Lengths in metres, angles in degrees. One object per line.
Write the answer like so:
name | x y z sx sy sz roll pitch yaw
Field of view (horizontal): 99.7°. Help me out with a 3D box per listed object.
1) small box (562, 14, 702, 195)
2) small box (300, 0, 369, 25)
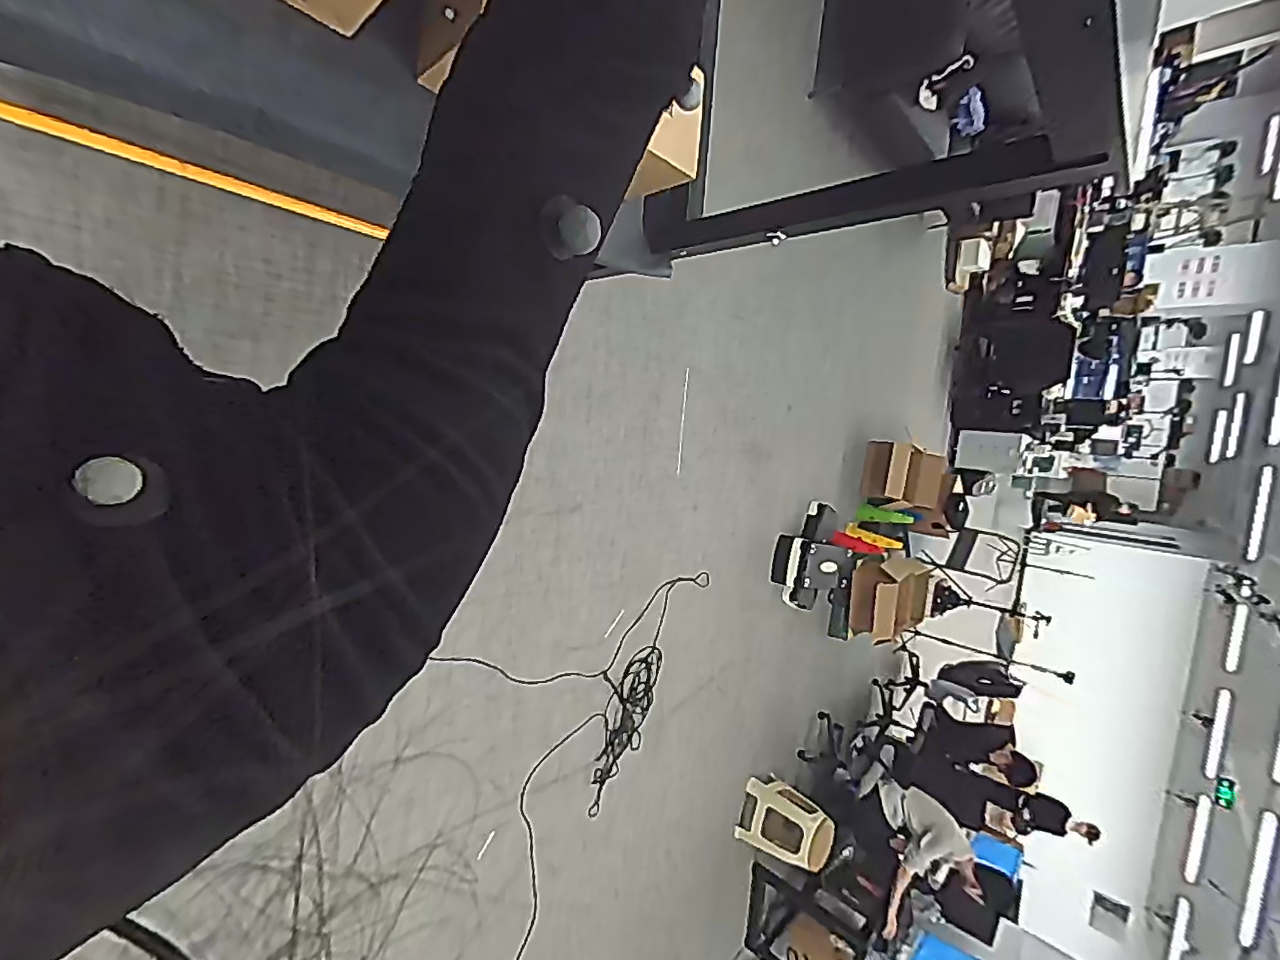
small box | -0.016 -0.615 0.918 0.168 0.176 0.179 -1 97 -48
small box | -0.351 -0.632 0.556 0.168 0.176 0.179 1 97 -48
